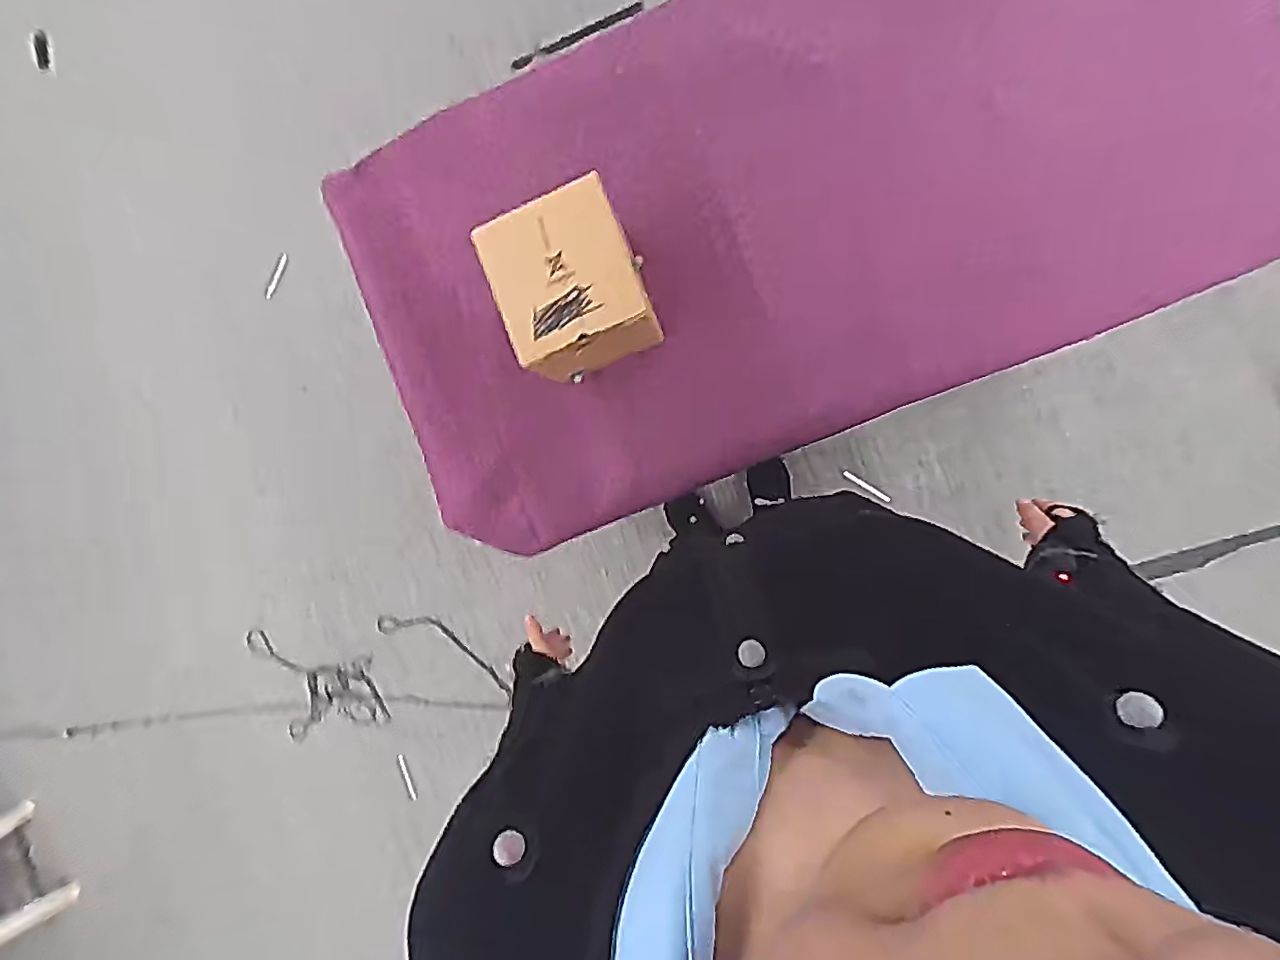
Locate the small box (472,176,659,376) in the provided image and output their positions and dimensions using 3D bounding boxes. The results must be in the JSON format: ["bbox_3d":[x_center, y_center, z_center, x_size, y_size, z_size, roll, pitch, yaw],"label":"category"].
[{"bbox_3d":[-0.084,-0.246,0.709,0.168,0.176,0.179,-21,89,9],"label":"small box"}]
